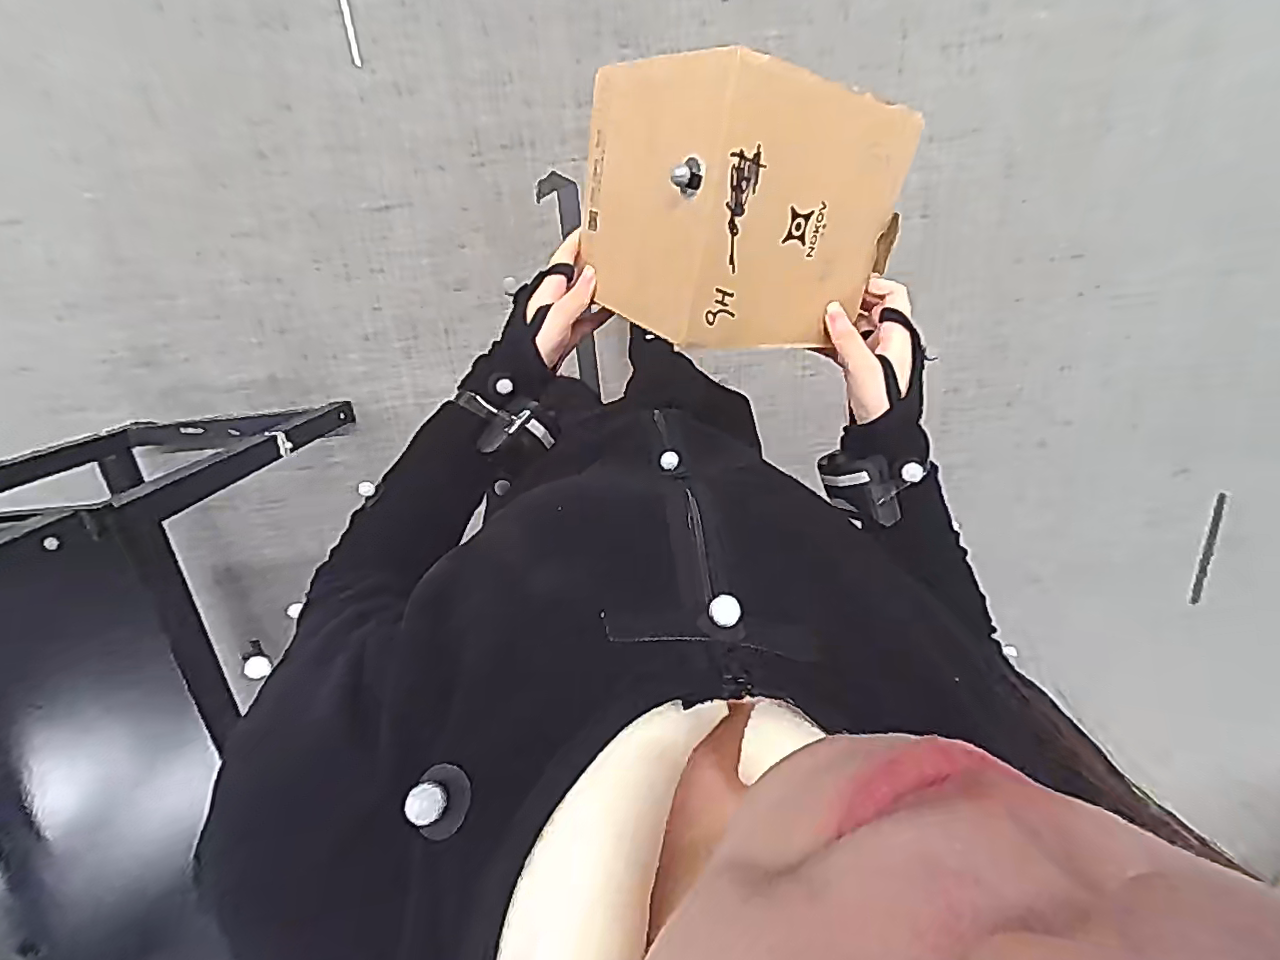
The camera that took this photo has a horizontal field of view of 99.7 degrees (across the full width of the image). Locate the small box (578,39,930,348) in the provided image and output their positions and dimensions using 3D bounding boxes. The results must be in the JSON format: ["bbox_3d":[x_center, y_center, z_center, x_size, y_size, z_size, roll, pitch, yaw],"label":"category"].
[{"bbox_3d":[0.073,-0.206,0.418,0.179,0.176,0.168,-9,122,-33],"label":"small box"}]
